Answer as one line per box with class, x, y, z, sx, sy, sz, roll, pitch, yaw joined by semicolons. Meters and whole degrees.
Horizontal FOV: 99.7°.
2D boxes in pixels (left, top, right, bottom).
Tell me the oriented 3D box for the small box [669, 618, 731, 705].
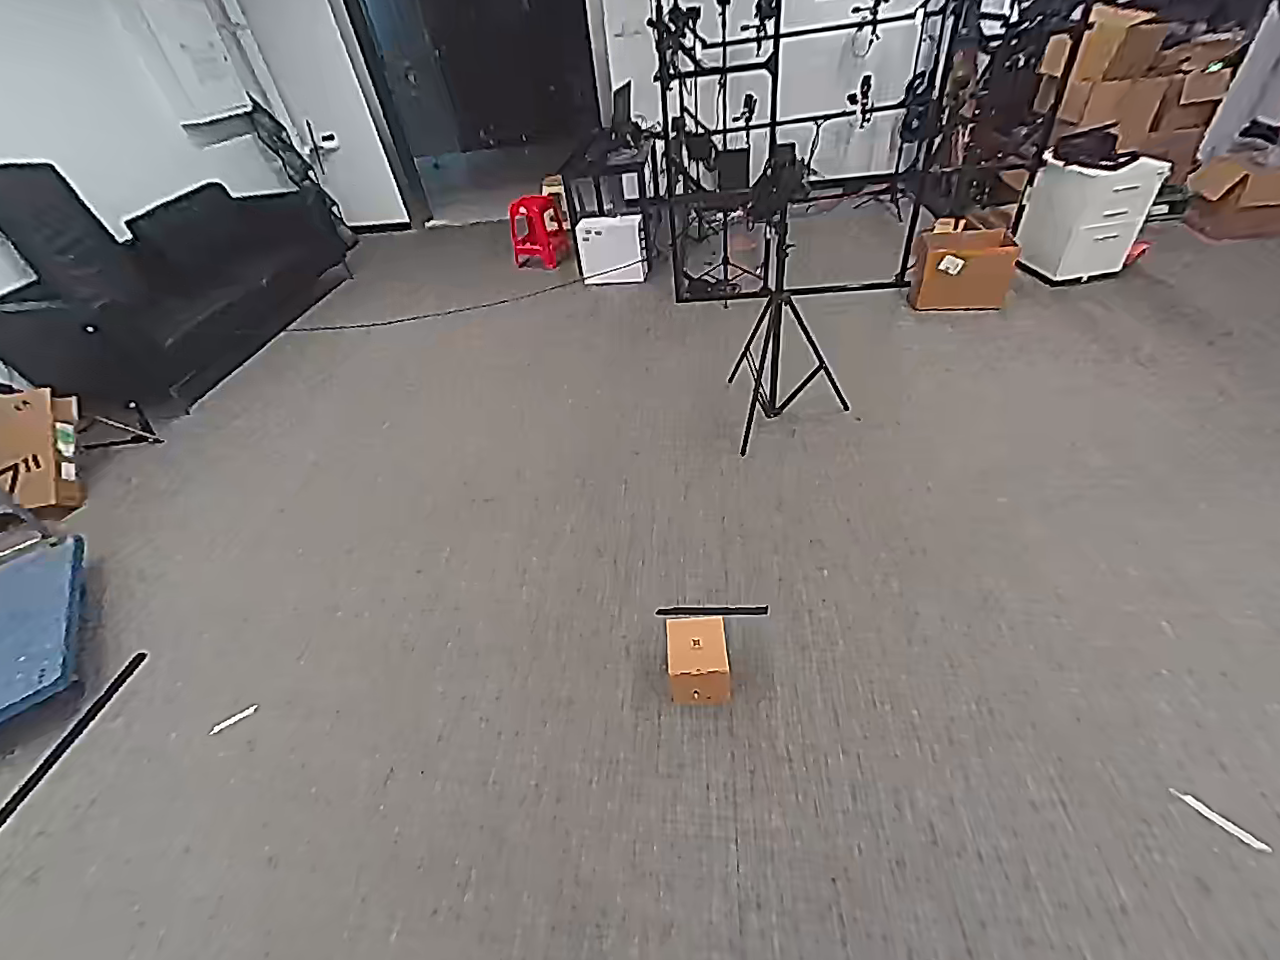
small box;0.170;0.523;1.558;0.168;0.176;0.179;-5;41;4
